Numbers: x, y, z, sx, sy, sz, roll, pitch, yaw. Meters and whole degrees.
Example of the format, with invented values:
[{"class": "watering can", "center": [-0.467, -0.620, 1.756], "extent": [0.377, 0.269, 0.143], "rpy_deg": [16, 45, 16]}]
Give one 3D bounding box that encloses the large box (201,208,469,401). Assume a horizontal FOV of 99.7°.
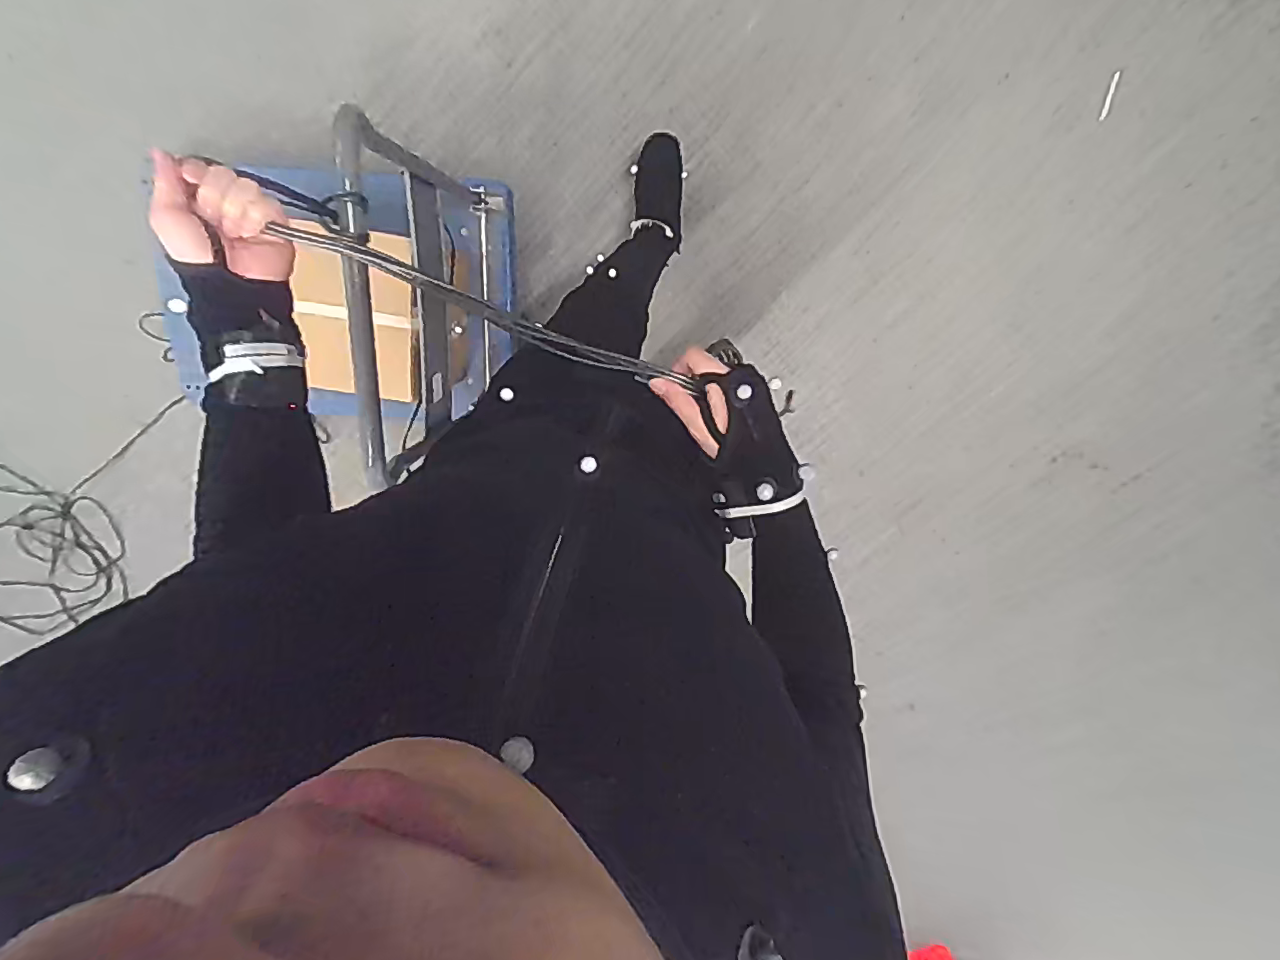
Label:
[{"class": "large box", "center": [-0.617, -0.377, 1.173], "extent": [0.408, 0.320, 0.320], "rpy_deg": [9, 109, 0]}]
